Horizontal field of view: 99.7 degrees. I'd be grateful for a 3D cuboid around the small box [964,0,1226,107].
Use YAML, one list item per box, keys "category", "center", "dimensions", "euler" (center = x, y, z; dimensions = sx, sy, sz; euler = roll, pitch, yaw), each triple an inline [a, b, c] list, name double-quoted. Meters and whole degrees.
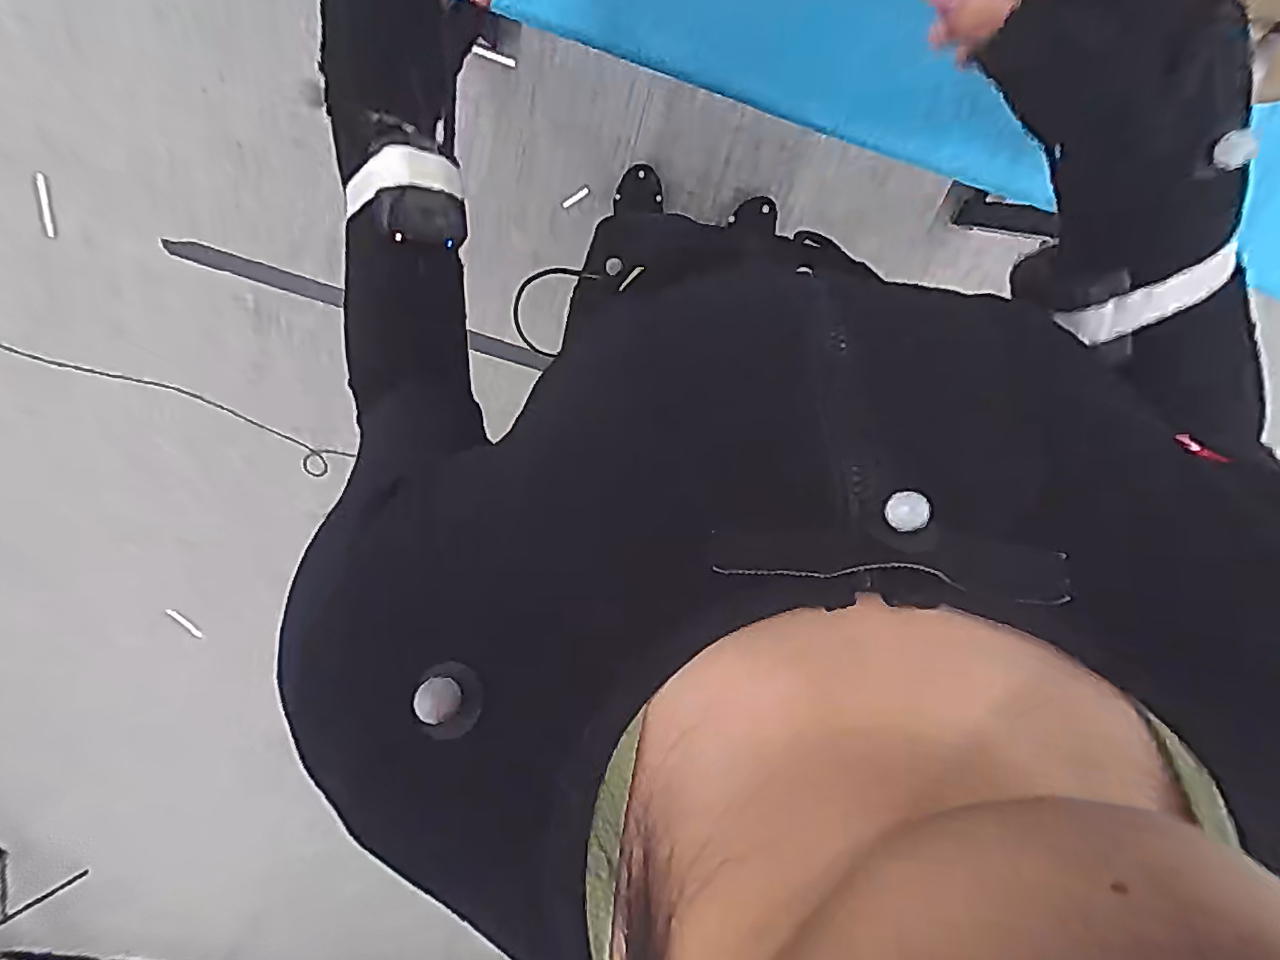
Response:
- category: "small box"
  center: [0.414, -0.427, 0.438]
  dimensions: [0.179, 0.176, 0.168]
  euler: [15, 119, -8]
